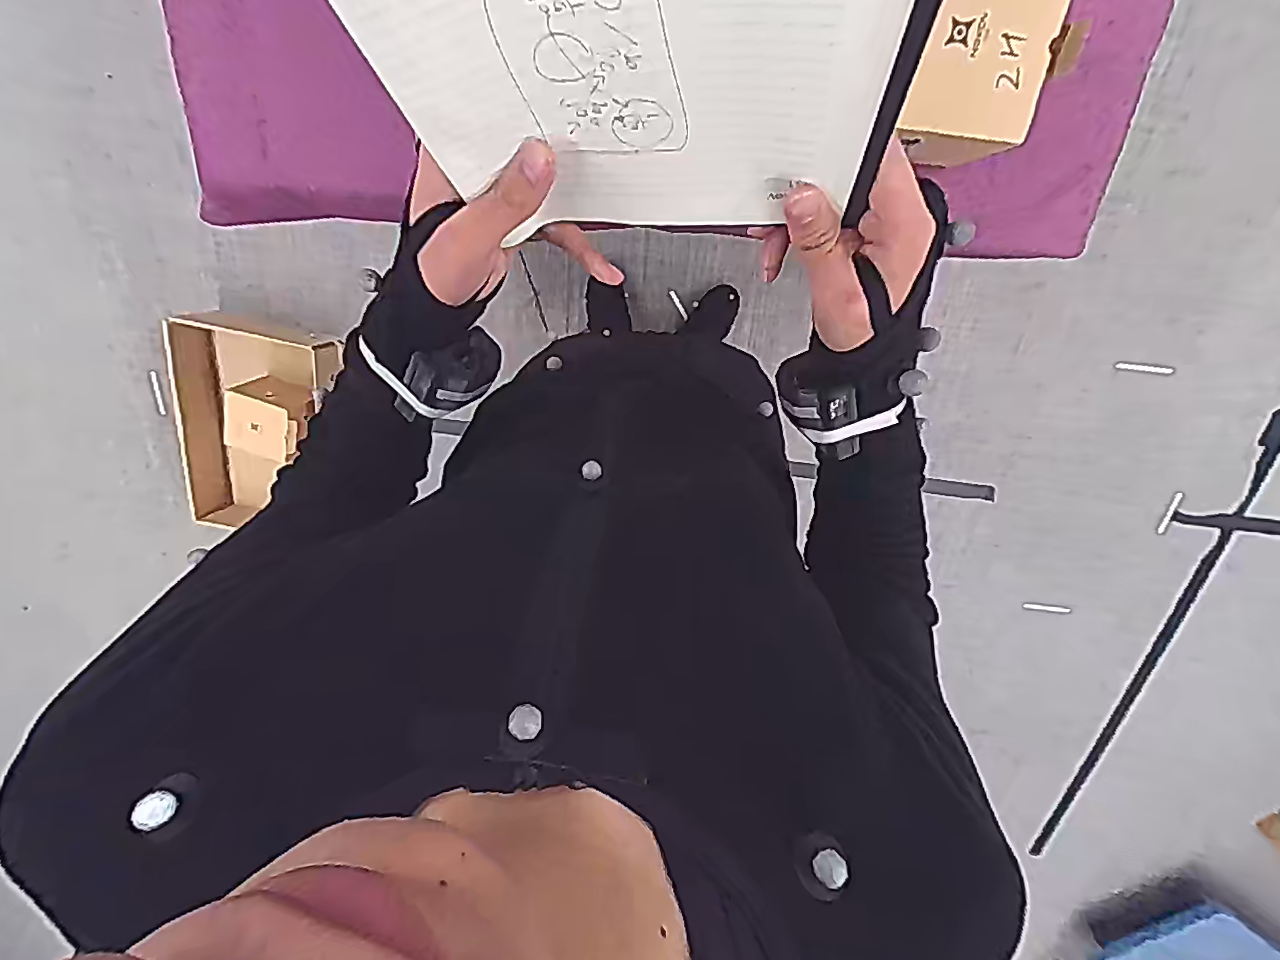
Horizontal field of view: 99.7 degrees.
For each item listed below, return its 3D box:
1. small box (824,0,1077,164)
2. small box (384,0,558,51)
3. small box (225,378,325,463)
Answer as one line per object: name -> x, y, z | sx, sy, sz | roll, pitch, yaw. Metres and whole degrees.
small box -> 0.317, -0.454, 0.585 | 0.179, 0.176, 0.168 | 8, 114, 0
small box -> -0.180, -0.581, 0.562 | 0.168, 0.176, 0.179 | 7, 113, 0
small box -> -1.030, -0.174, 1.535 | 0.179, 0.176, 0.168 | 19, 114, -5
